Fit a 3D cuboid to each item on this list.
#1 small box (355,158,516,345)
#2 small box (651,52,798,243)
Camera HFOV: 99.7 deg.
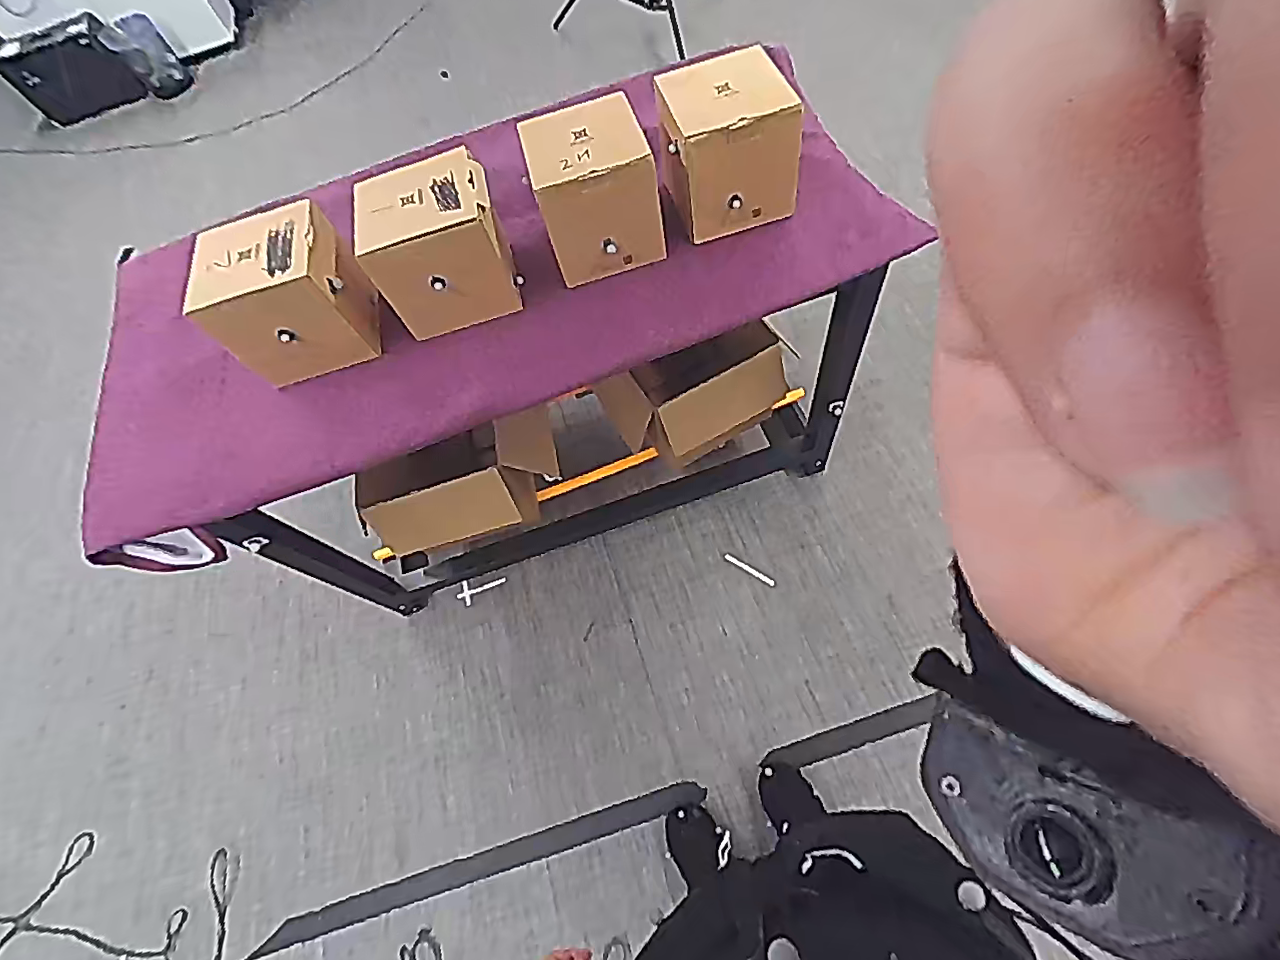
[{"bbox_3d":[-0.299,-0.338,0.818,0.179,0.176,0.168,-18,62,2],"label":"small box"},{"bbox_3d":[0.124,-0.501,0.827,0.168,0.176,0.179,-17,61,1],"label":"small box"}]
